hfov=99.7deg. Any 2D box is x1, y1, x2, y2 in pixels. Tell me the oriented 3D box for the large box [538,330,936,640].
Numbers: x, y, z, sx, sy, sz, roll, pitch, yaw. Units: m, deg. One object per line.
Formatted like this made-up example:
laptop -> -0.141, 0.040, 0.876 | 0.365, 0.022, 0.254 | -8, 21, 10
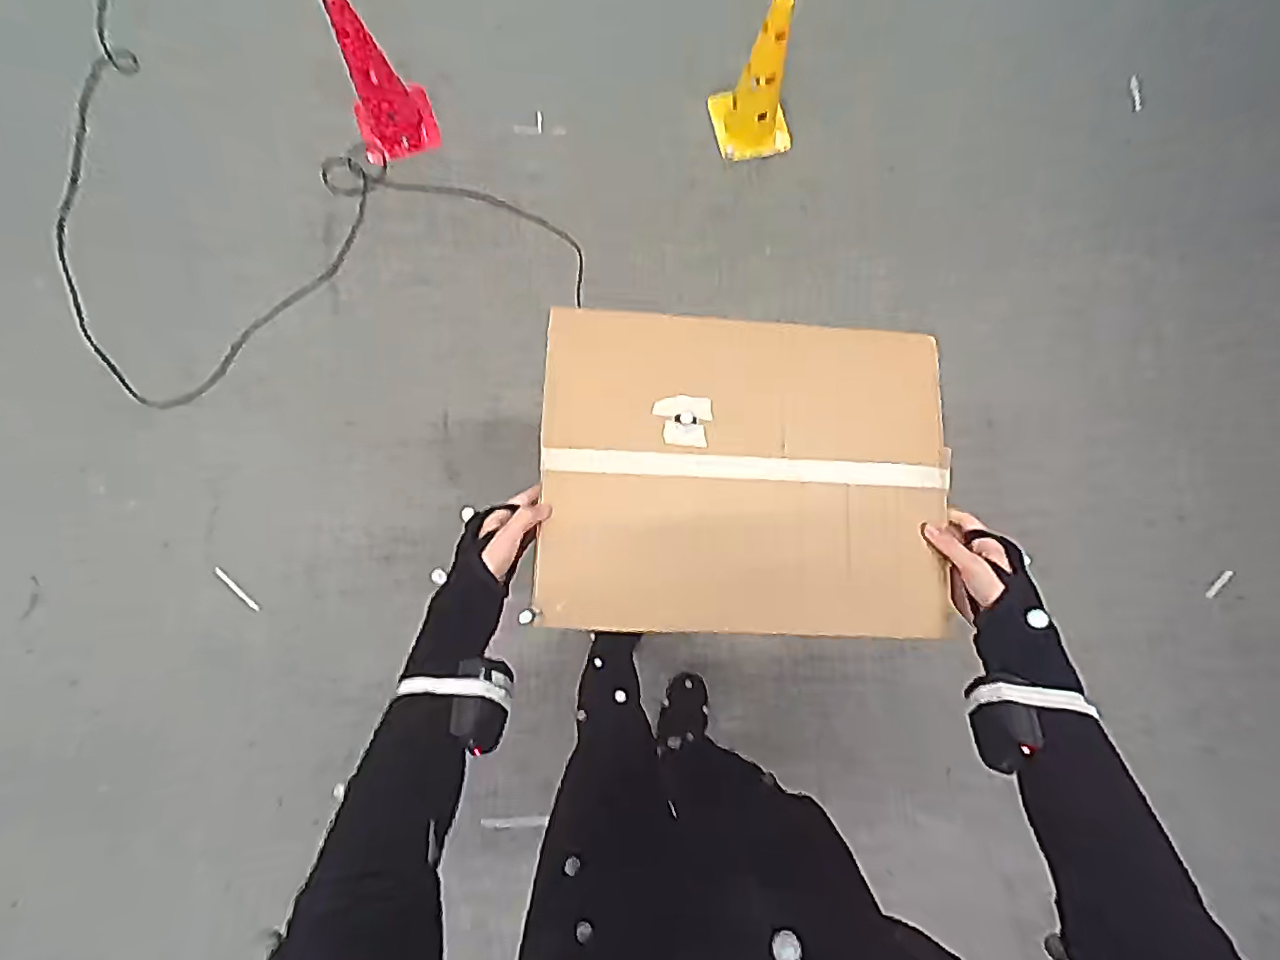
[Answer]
large box -> 0.094, 0.020, 0.694 | 0.408, 0.320, 0.320 | 2, 81, -4
